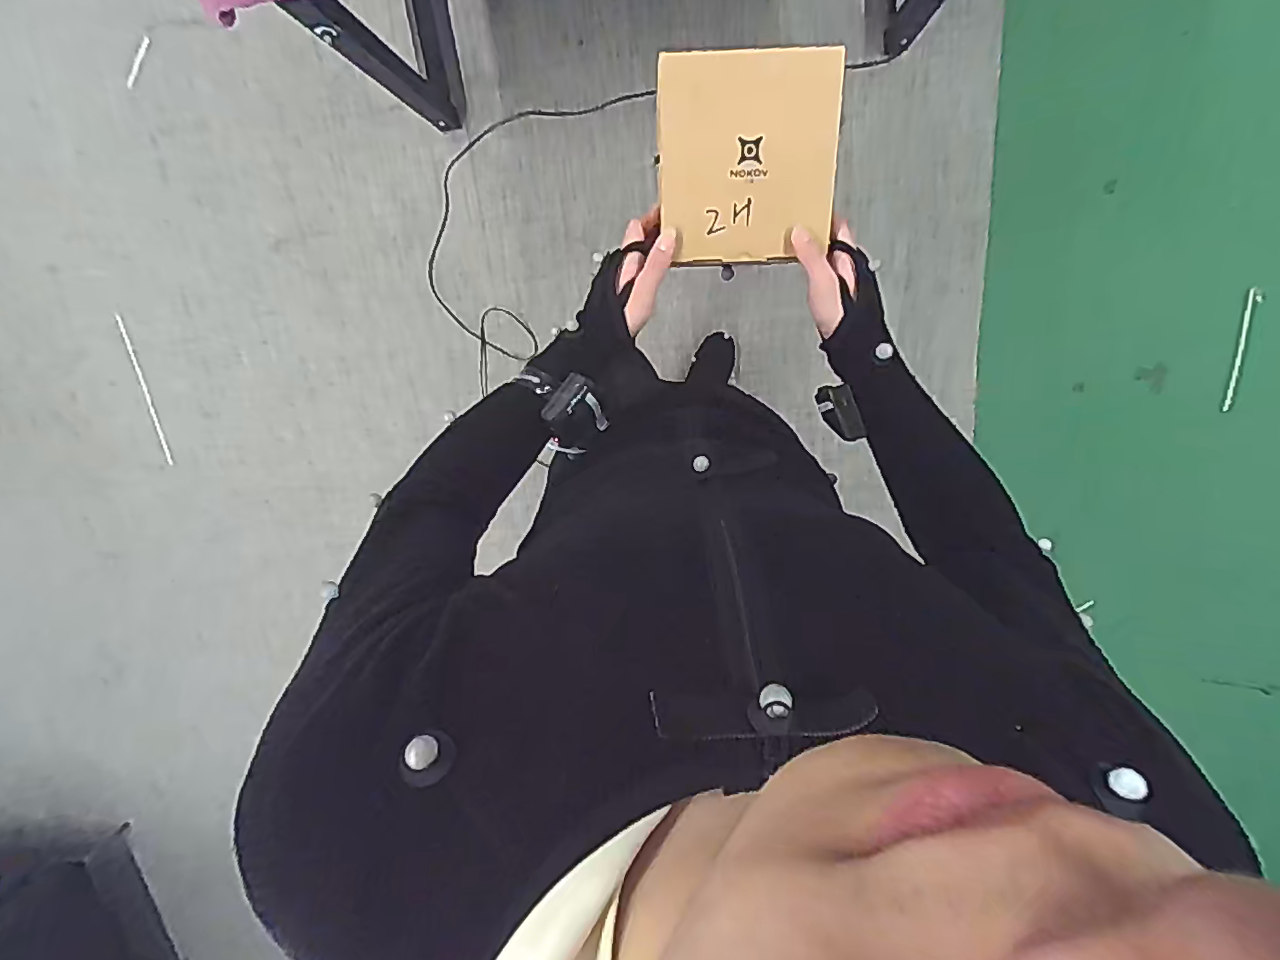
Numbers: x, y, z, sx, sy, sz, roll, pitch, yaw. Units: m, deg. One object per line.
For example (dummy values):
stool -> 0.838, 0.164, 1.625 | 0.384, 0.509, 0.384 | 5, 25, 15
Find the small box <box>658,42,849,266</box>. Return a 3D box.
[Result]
small box -> 0.104, -0.325, 0.575 | 0.168, 0.176, 0.179 | -1, 110, 1

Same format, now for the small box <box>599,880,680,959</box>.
small box -> 0.006, 1.083, 1.270 | 0.179, 0.176, 0.168 | -1, 105, 6
